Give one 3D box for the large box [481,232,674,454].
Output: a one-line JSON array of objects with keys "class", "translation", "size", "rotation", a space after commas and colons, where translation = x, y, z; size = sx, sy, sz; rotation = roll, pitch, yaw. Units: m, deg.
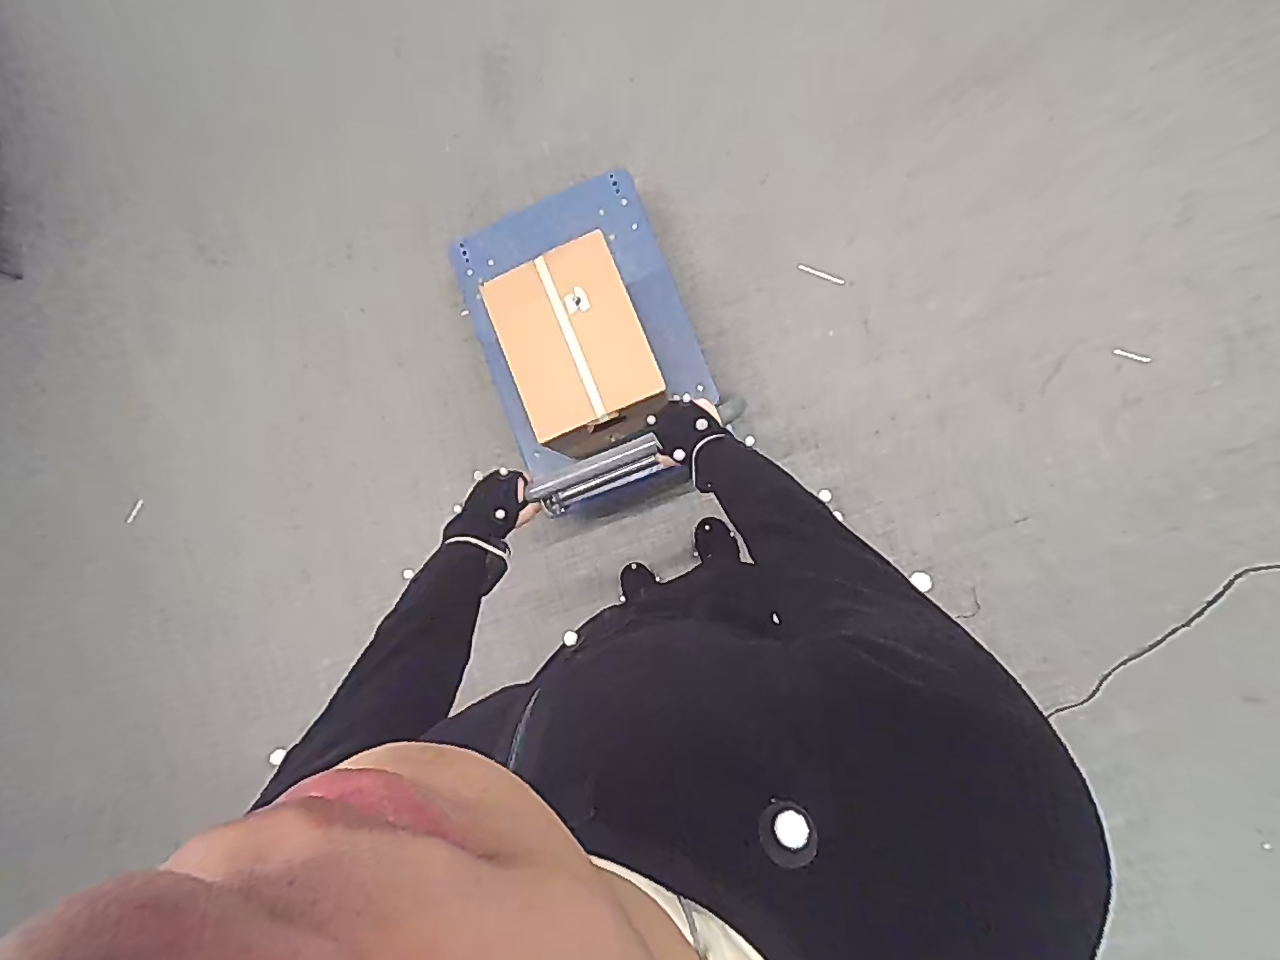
[{"class": "large box", "translation": [-0.137, -0.319, 1.374], "size": [0.320, 0.320, 0.408], "rotation": [-23, 84, 5]}]
